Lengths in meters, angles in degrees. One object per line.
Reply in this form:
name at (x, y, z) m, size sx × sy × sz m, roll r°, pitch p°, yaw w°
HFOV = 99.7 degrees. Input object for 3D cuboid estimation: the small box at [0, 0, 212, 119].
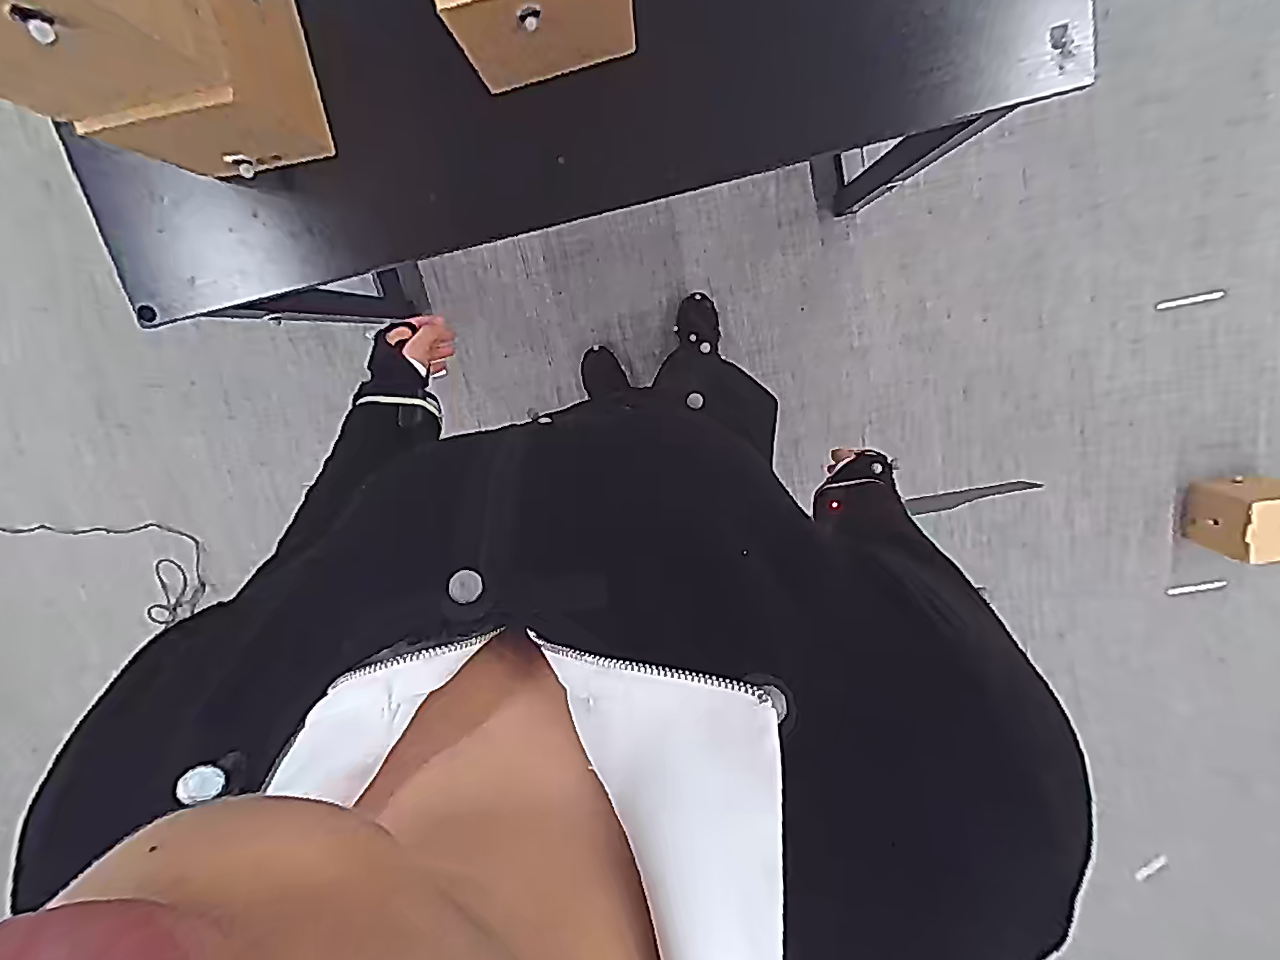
small box at (-0.474, -0.406, 0.406) m, size 0.179 × 0.176 × 0.168 m, roll -8°, pitch 103°, yaw 5°

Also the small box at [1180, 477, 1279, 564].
small box at (1.559, 0.101, 1.394) m, size 0.179 × 0.176 × 0.168 m, roll -9°, pitch 105°, yaw 5°

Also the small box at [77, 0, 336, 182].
small box at (-0.461, -0.442, 0.567) m, size 0.168 × 0.176 × 0.179 m, roll -8°, pitch 105°, yaw 5°

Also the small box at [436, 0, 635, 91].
small box at (-0.108, -0.524, 0.532) m, size 0.179 × 0.176 × 0.168 m, roll -13°, pitch 104°, yaw 5°
